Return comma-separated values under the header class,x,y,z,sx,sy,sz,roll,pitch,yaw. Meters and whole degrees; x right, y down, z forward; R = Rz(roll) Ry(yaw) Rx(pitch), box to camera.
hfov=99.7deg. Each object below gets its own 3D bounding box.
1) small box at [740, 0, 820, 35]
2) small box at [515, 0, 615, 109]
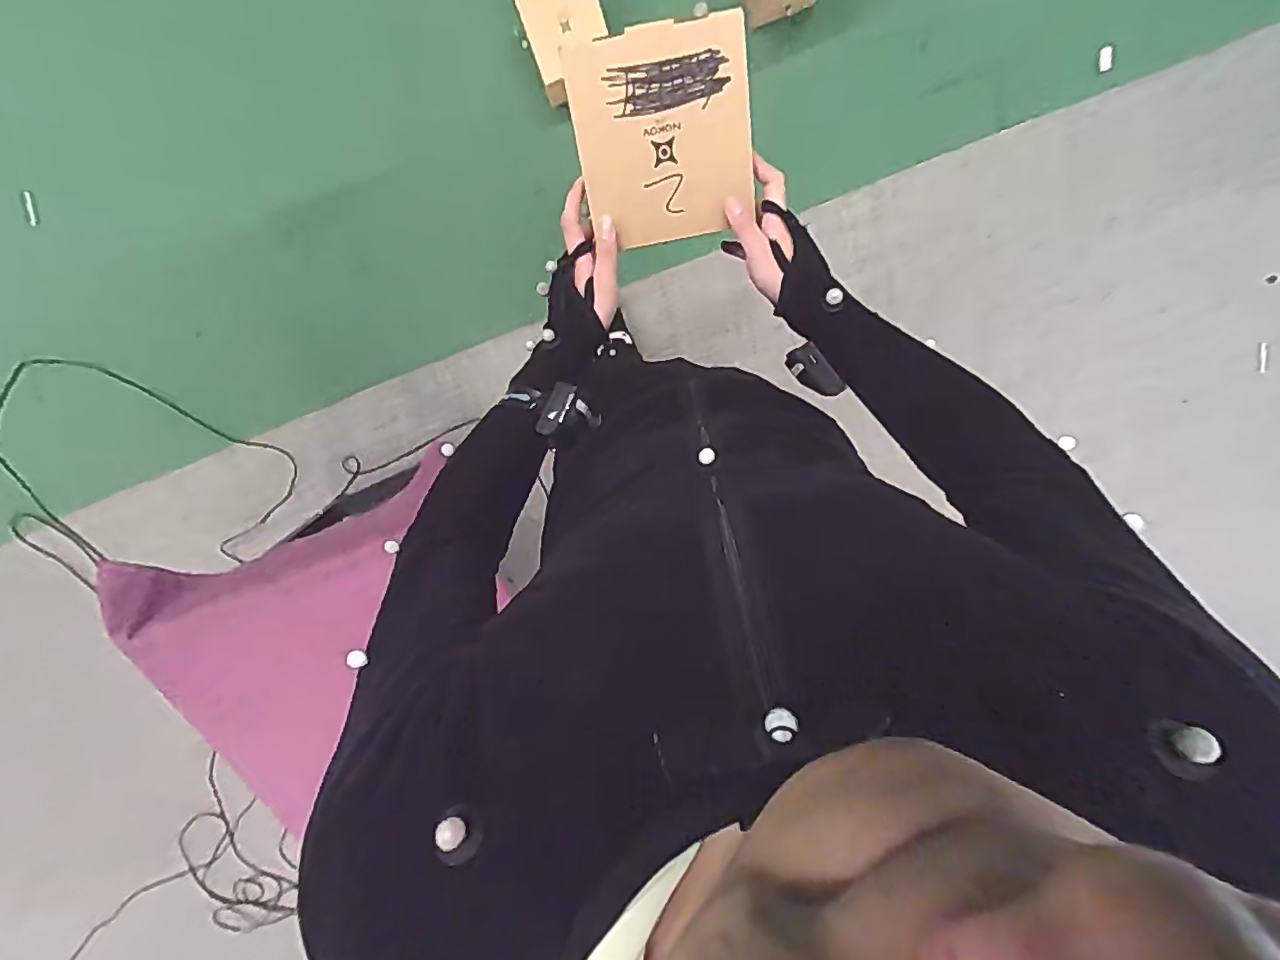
class,x,y,z,sx,sy,sz,roll,pitch,yaw
small box,0.313,-1.140,1.188,0.168,0.176,0.179,-20,109,3
small box,-0.160,-0.971,1.216,0.168,0.176,0.179,-21,108,3
